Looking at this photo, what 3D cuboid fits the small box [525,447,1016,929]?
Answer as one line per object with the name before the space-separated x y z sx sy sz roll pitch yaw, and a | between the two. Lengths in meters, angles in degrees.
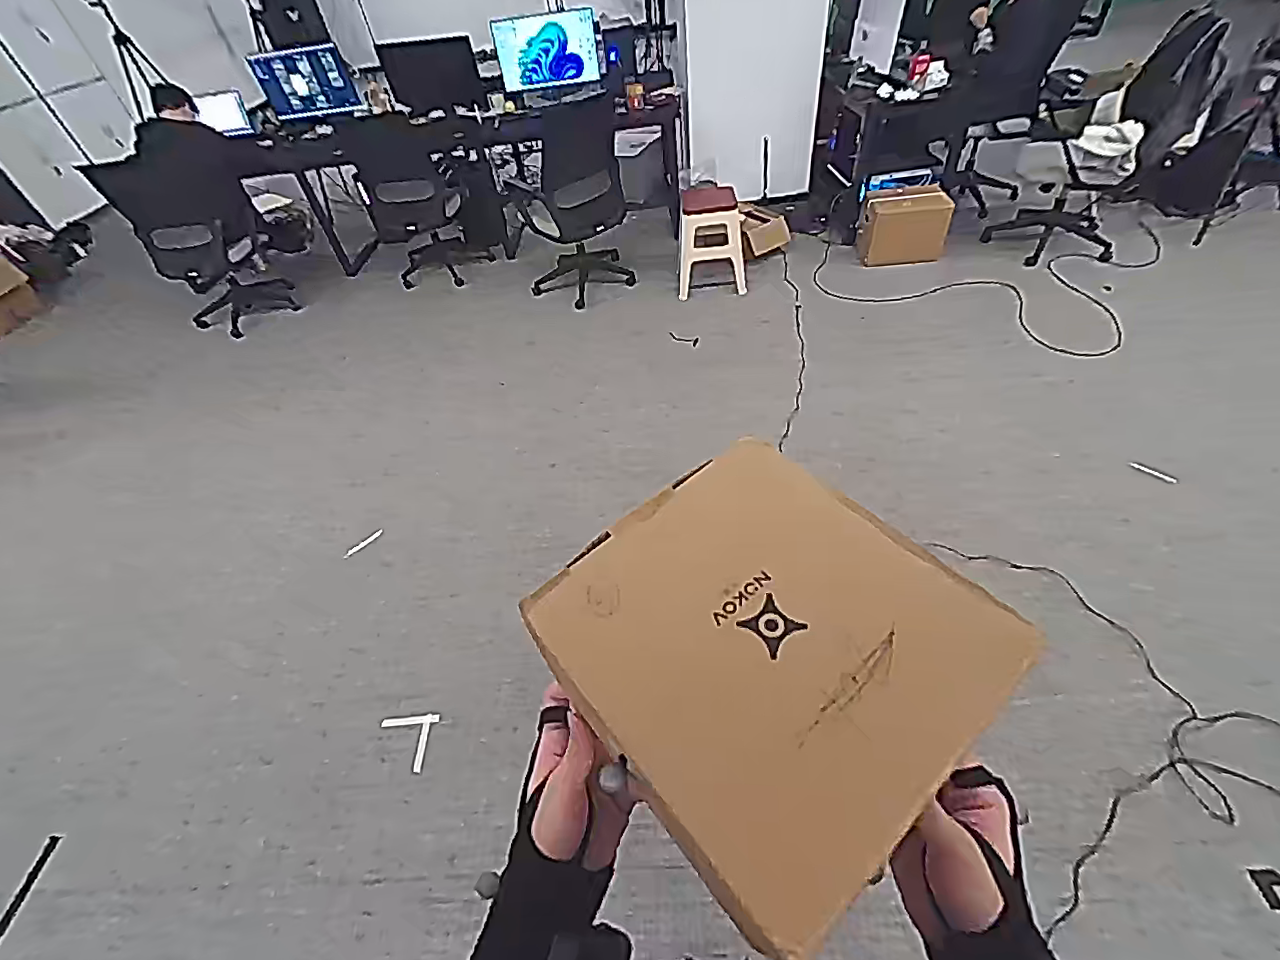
small box | 0.061 0.120 0.322 0.168 0.176 0.179 -36 56 -21
